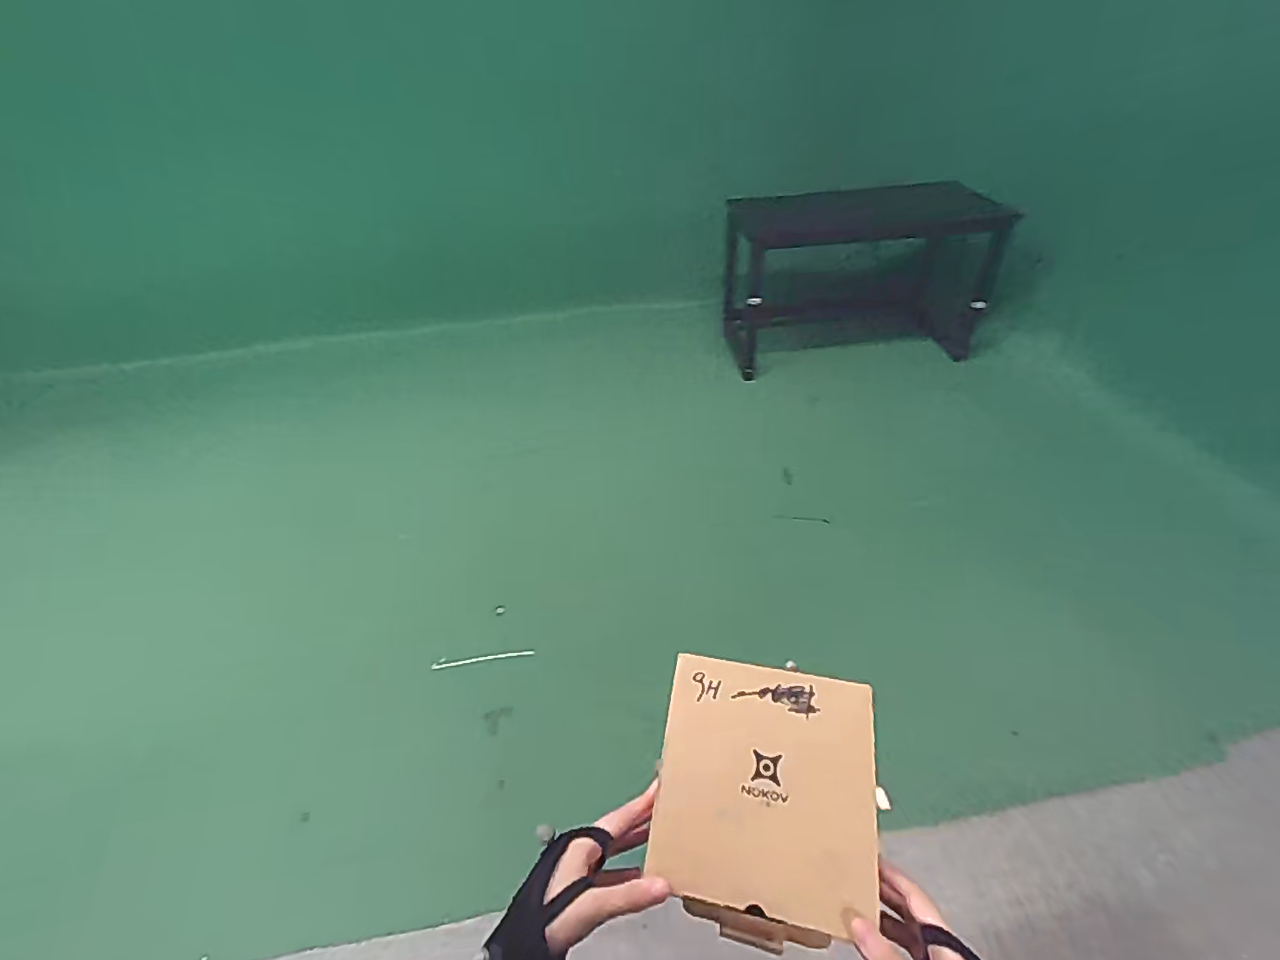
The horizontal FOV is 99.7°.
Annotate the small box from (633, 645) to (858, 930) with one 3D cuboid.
[{"bbox_3d":[0.099,0.272,0.502,0.168,0.176,0.179,6,60,11],"label":"small box"}]
